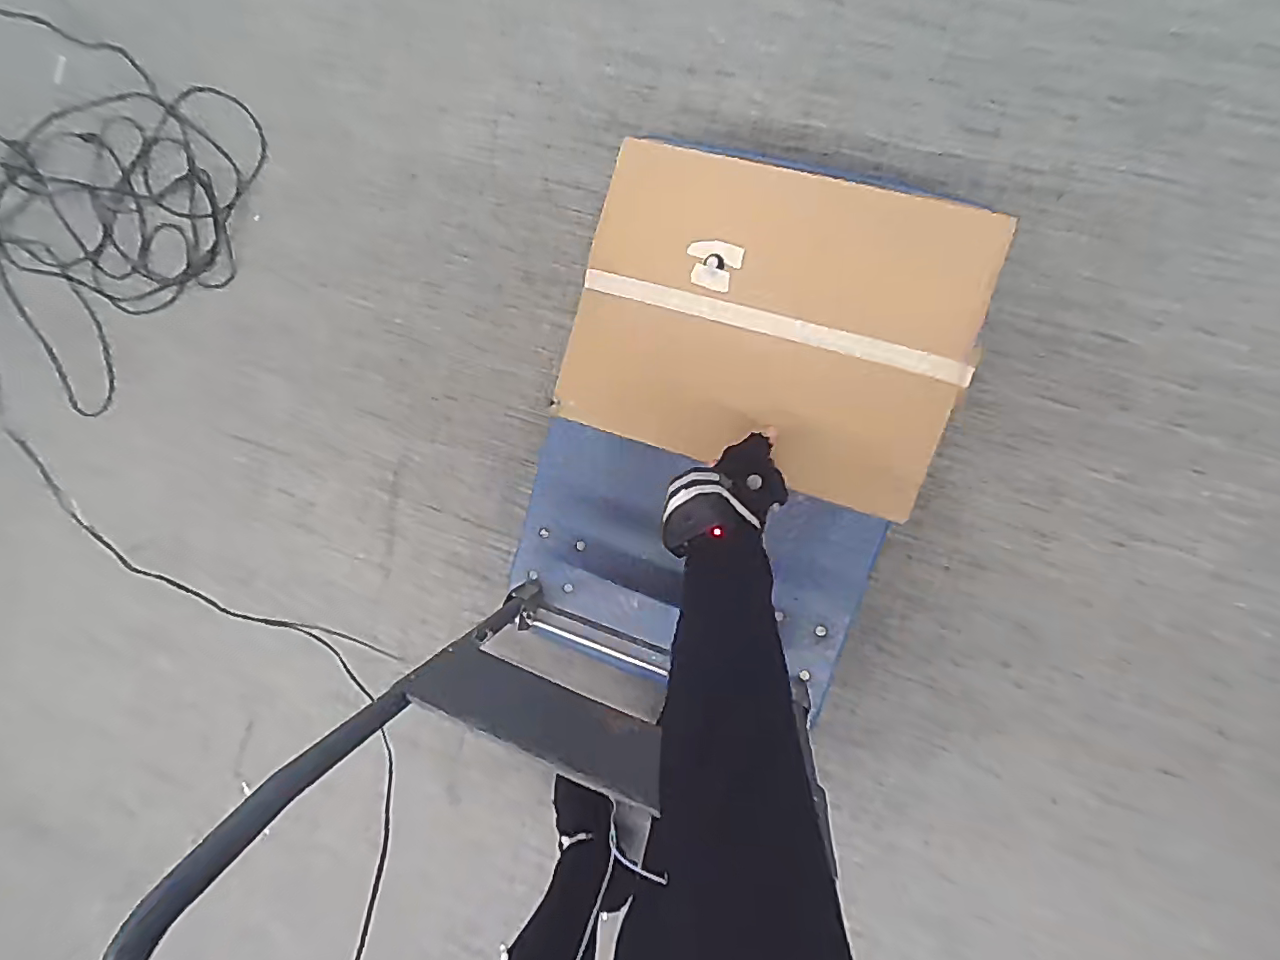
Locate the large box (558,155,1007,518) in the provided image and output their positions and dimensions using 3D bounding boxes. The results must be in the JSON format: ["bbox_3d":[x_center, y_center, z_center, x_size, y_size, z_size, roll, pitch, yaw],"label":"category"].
[{"bbox_3d":[0.162,-0.169,0.714,0.408,0.320,0.320,17,97,12],"label":"large box"}]
